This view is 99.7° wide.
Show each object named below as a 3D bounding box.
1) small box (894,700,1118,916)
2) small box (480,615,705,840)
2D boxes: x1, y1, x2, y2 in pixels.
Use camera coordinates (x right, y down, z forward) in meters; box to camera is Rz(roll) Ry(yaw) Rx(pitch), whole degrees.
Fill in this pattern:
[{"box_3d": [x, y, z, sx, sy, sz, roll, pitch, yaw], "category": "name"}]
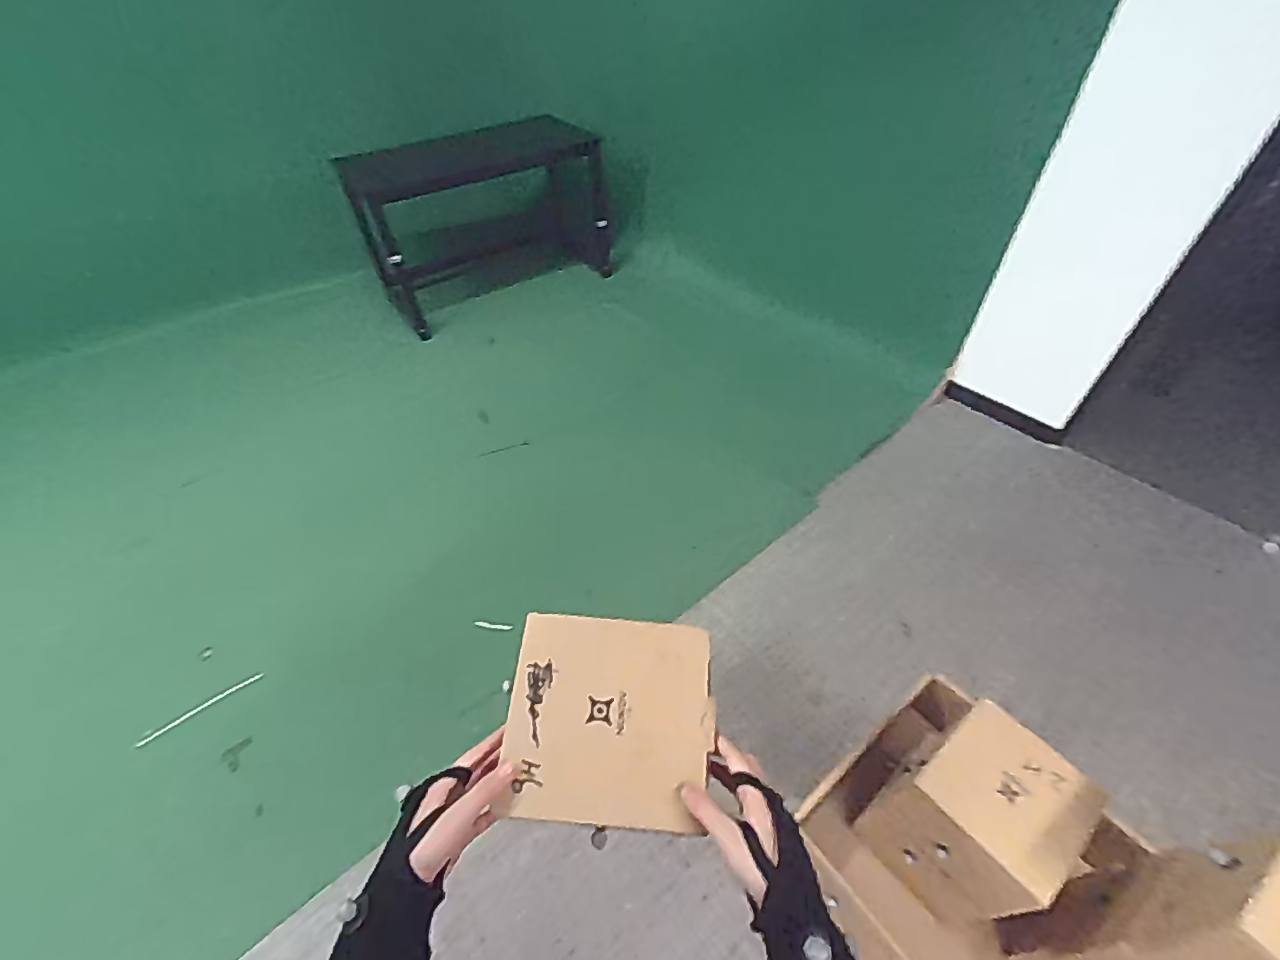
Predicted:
[{"box_3d": [0.472, 0.442, 0.728, 0.179, 0.176, 0.168, -31, 53, -23], "category": "small box"}, {"box_3d": [-0.037, 0.245, 0.529, 0.179, 0.176, 0.168, 5, 57, 0], "category": "small box"}]
